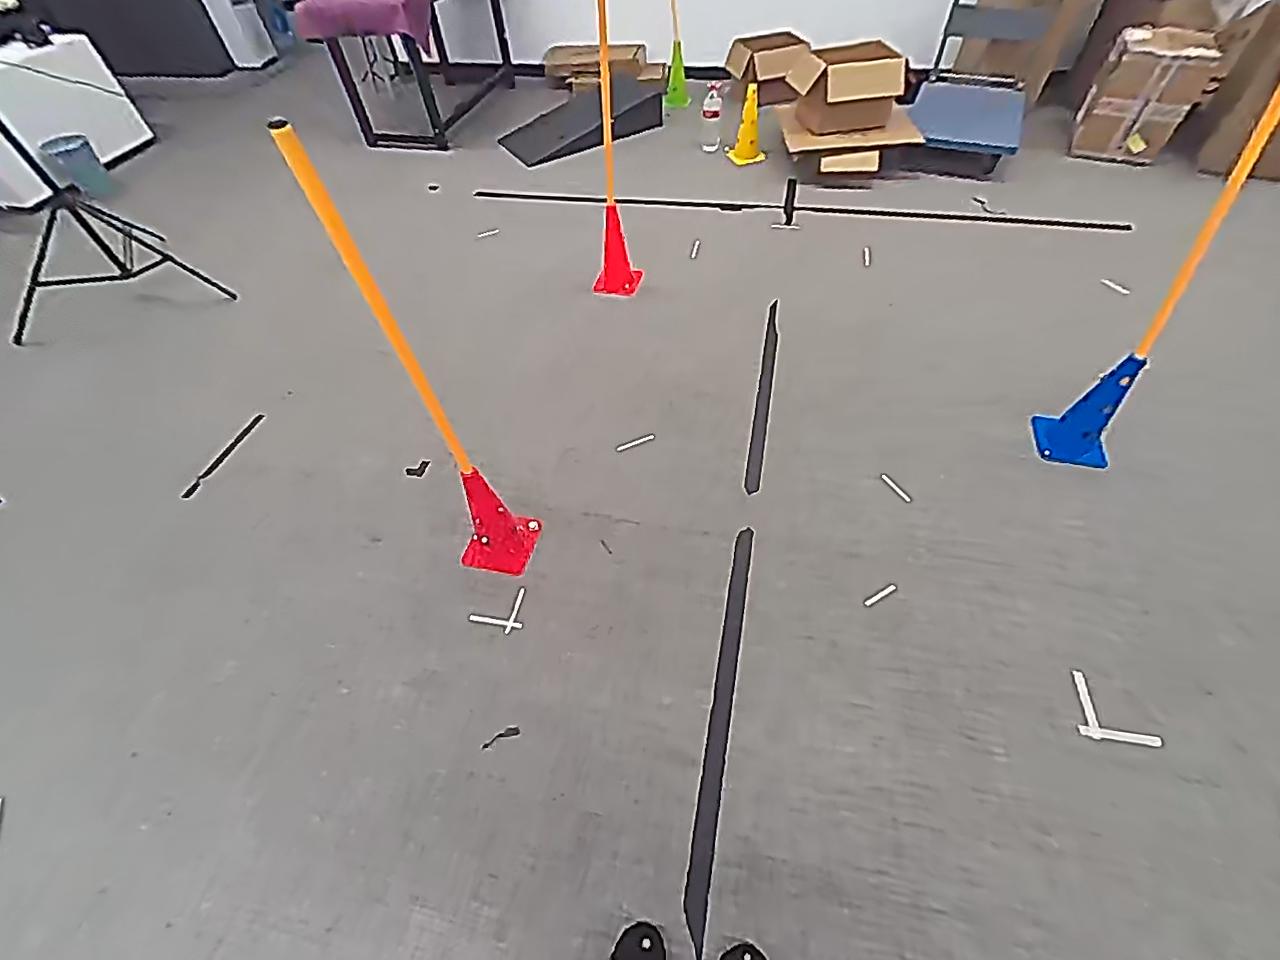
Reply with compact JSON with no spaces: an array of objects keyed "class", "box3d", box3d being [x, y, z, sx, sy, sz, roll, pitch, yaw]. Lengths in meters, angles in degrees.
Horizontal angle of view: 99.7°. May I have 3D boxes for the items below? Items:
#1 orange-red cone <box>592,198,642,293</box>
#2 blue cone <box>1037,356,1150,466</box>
[{"class":"orange-red cone","box3d":[-0.109,-1.026,2.331,0.198,0.360,0.199,11,53,12]},{"class":"blue cone","box3d":[1.414,-0.230,1.656,0.193,0.380,0.192,11,55,12]}]
